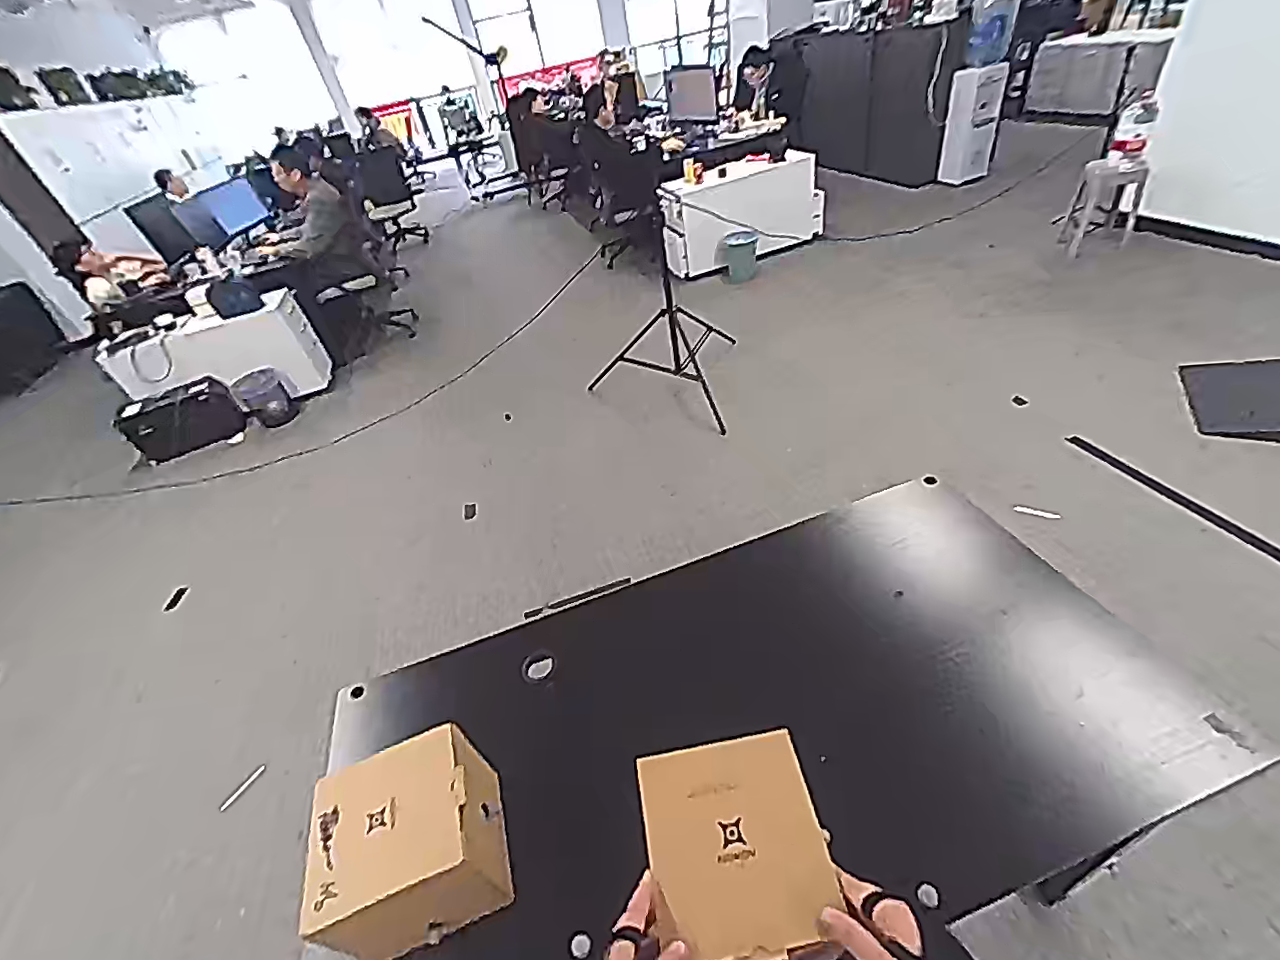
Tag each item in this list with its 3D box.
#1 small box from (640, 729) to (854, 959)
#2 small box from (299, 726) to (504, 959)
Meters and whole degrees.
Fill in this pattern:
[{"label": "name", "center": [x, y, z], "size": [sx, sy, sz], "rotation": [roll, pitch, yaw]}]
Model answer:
[{"label": "small box", "center": [0.099, 0.393, 0.564], "size": [0.168, 0.176, 0.179], "rotation": [-10, 42, -2]}, {"label": "small box", "center": [-0.279, 0.448, 0.671], "size": [0.179, 0.176, 0.168], "rotation": [-19, 40, -10]}]
